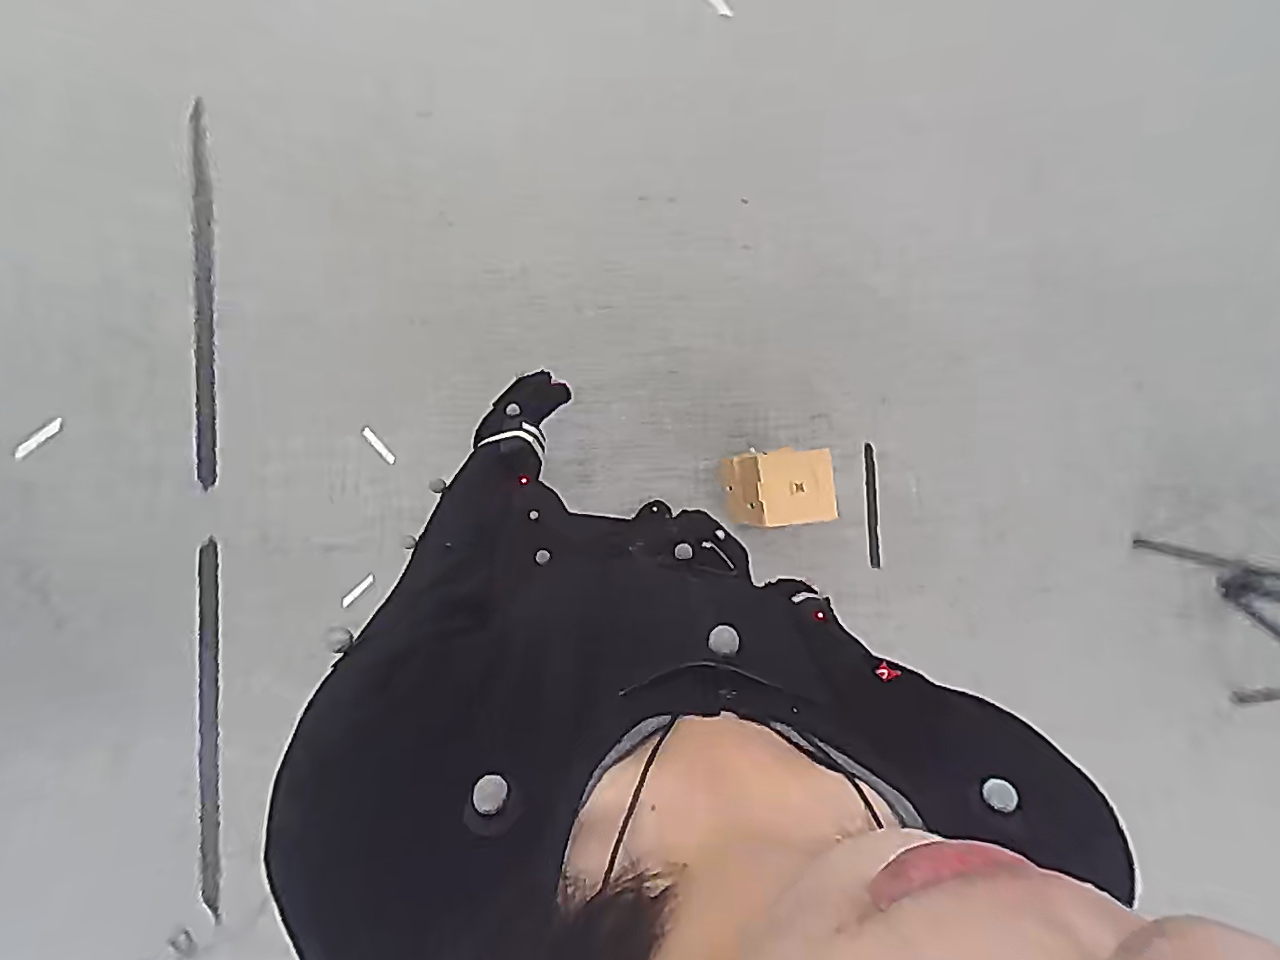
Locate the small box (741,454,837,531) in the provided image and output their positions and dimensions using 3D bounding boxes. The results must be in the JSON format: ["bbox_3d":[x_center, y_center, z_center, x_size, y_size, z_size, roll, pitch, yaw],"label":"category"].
[{"bbox_3d":[0.350,0.029,1.303,0.179,0.176,0.168,-6,91,-5],"label":"small box"}]

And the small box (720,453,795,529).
[{"bbox_3d":[0.324,0.029,1.464,0.168,0.176,0.179,-9,89,-5],"label":"small box"}]
